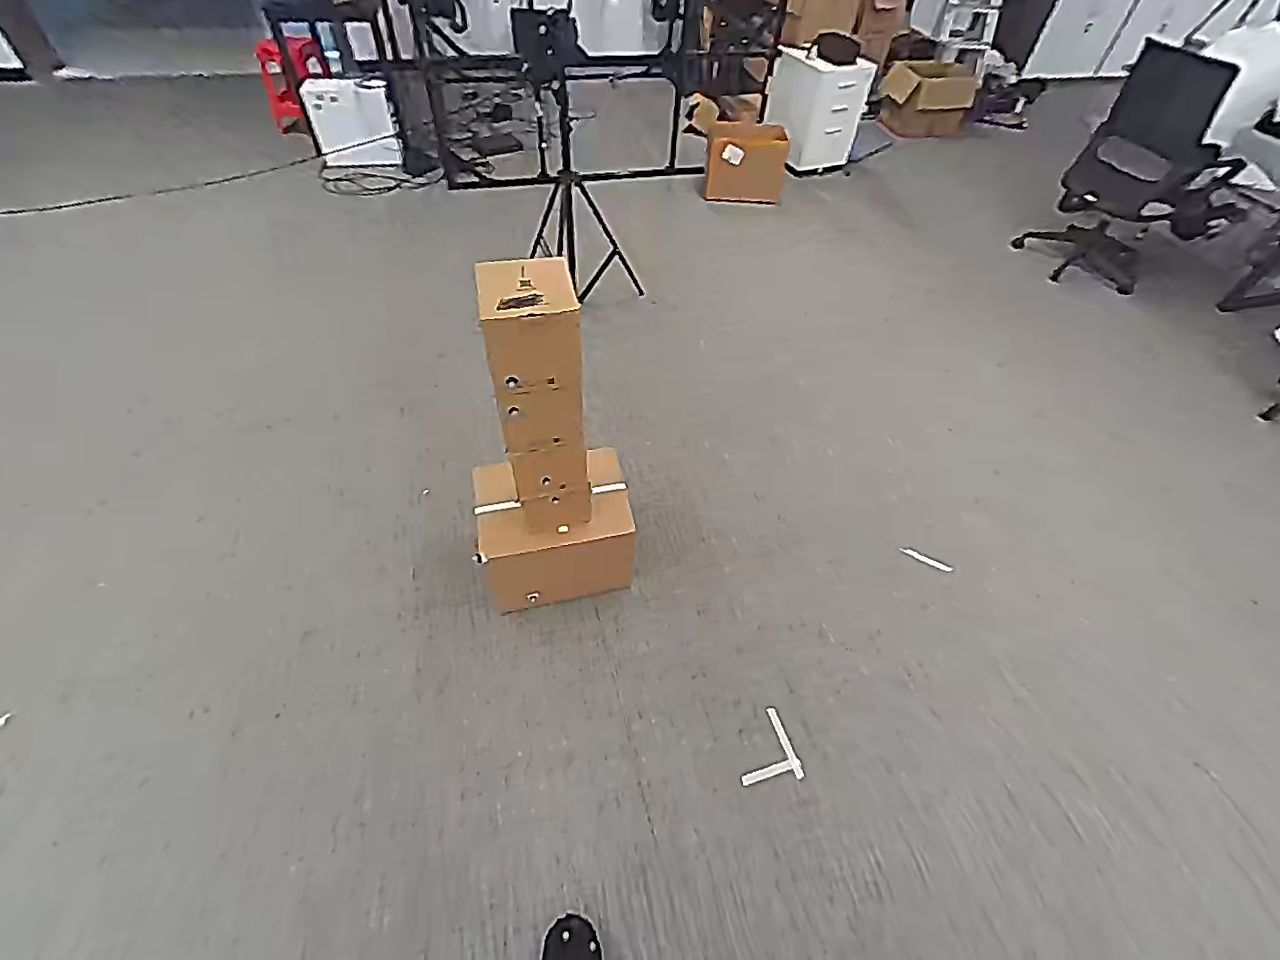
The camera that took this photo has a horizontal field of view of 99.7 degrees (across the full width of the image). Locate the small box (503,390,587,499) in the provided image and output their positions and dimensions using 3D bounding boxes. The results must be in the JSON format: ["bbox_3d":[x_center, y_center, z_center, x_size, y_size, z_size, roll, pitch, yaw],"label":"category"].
[{"bbox_3d":[-0.220,-0.082,1.264,0.168,0.176,0.179,-11,54,-12],"label":"small box"}]

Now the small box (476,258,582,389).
[{"bbox_3d":[-0.203,-0.283,1.005,0.168,0.176,0.179,-9,53,-11],"label":"small box"}]

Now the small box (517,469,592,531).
[{"bbox_3d":[-0.226,0.012,1.396,0.179,0.176,0.168,-11,54,-13],"label":"small box"}]
